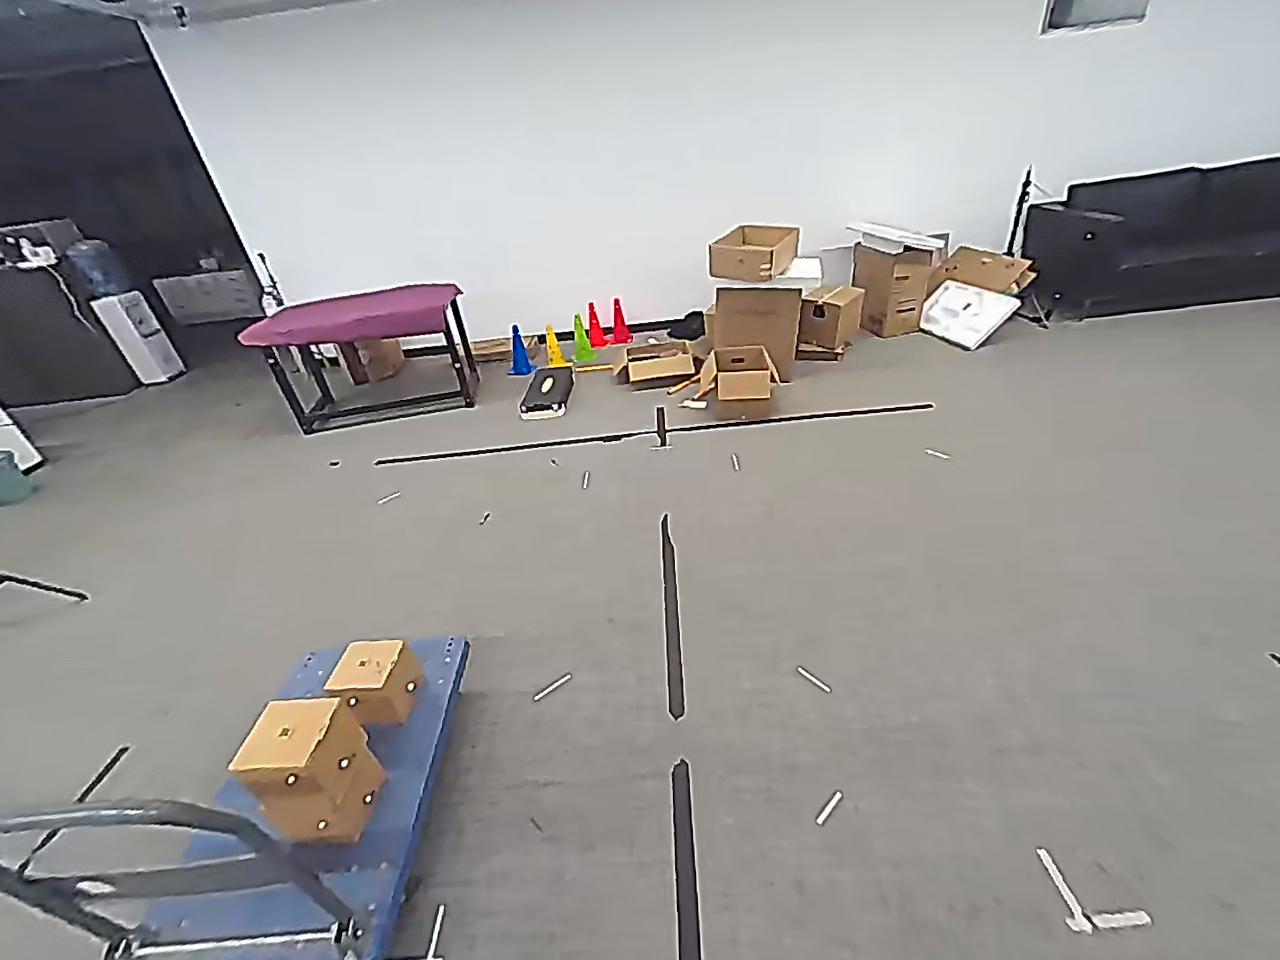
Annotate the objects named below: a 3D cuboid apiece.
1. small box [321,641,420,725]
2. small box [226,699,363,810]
[{"bbox_3d":[-0.776,0.594,1.578,0.179,0.176,0.168,-4,34,5],"label":"small box"},{"bbox_3d":[-0.773,0.626,1.232,0.179,0.176,0.168,-4,33,2],"label":"small box"}]
